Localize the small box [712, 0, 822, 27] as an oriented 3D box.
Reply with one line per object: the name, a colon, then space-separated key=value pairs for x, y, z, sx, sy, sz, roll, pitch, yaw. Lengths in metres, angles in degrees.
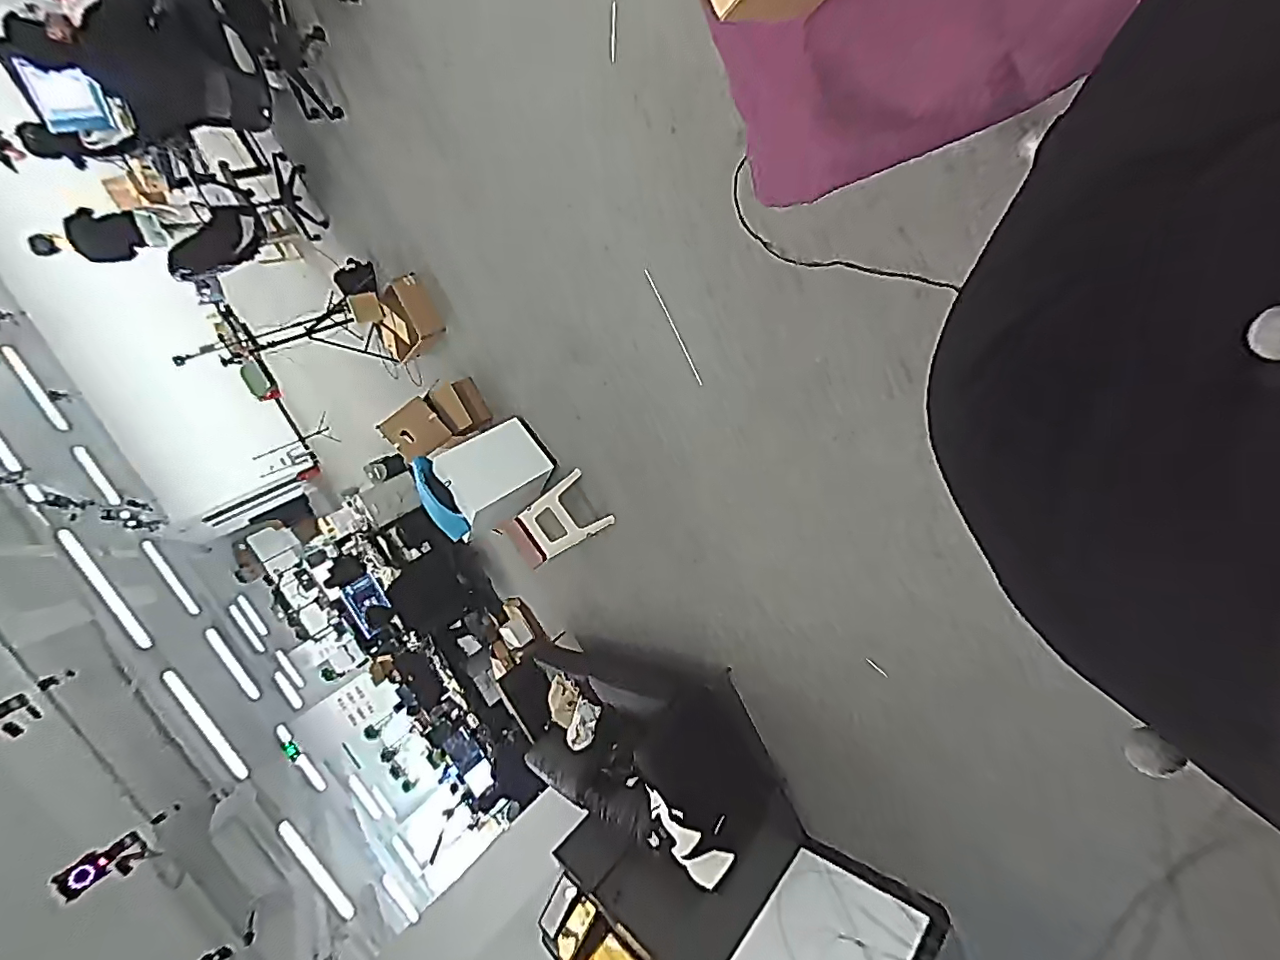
small box: x=0.151 y=-0.595 z=0.525 sx=0.168 sy=0.176 sz=0.179 roll=-12 pitch=108 yaw=55
